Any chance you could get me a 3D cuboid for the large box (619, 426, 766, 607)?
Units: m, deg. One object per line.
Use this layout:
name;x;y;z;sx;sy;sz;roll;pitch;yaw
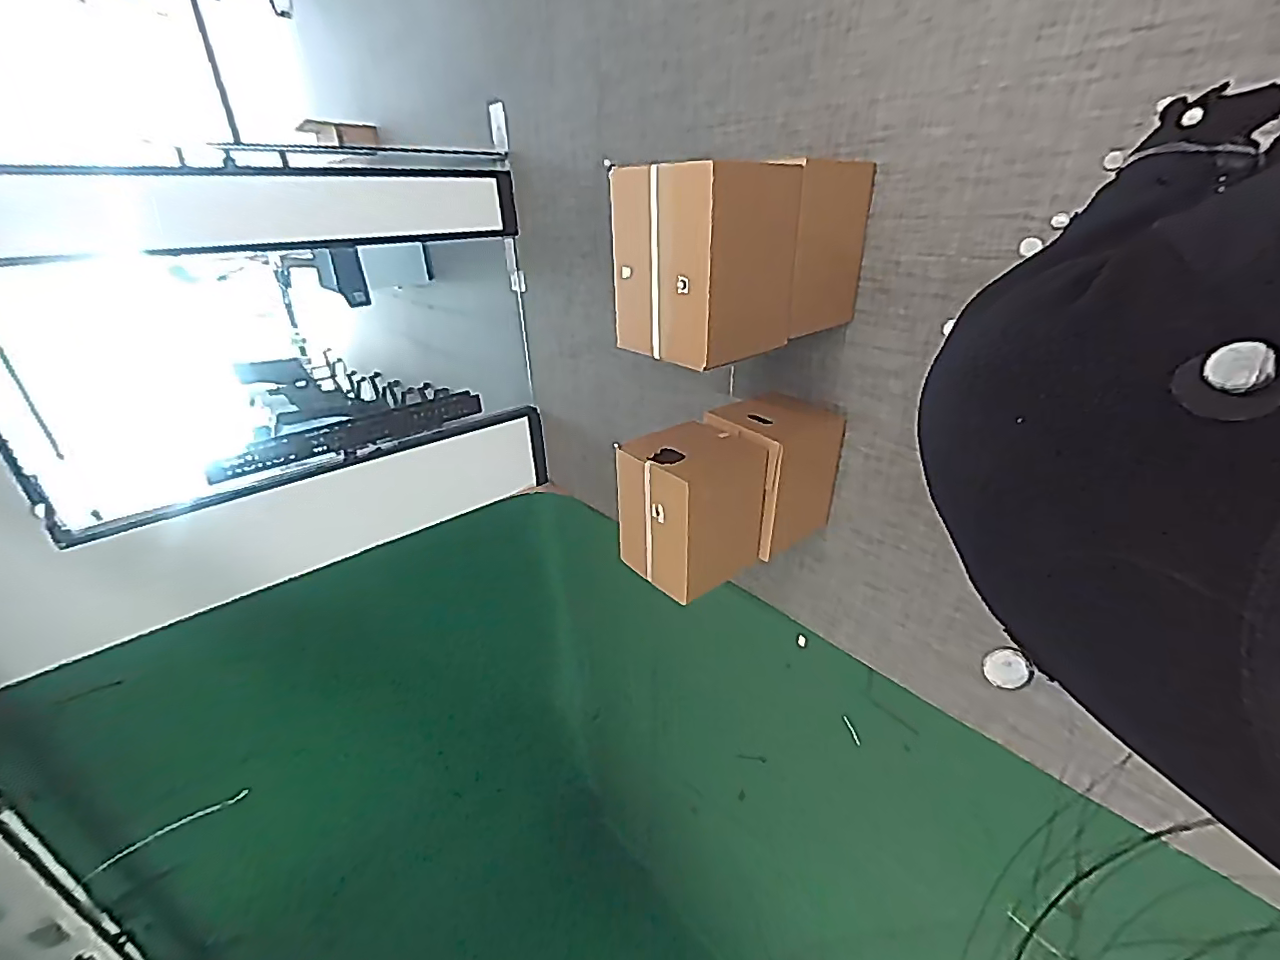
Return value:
large box;0.149;0.095;1.627;0.320;0.320;0.408;30;129;45
